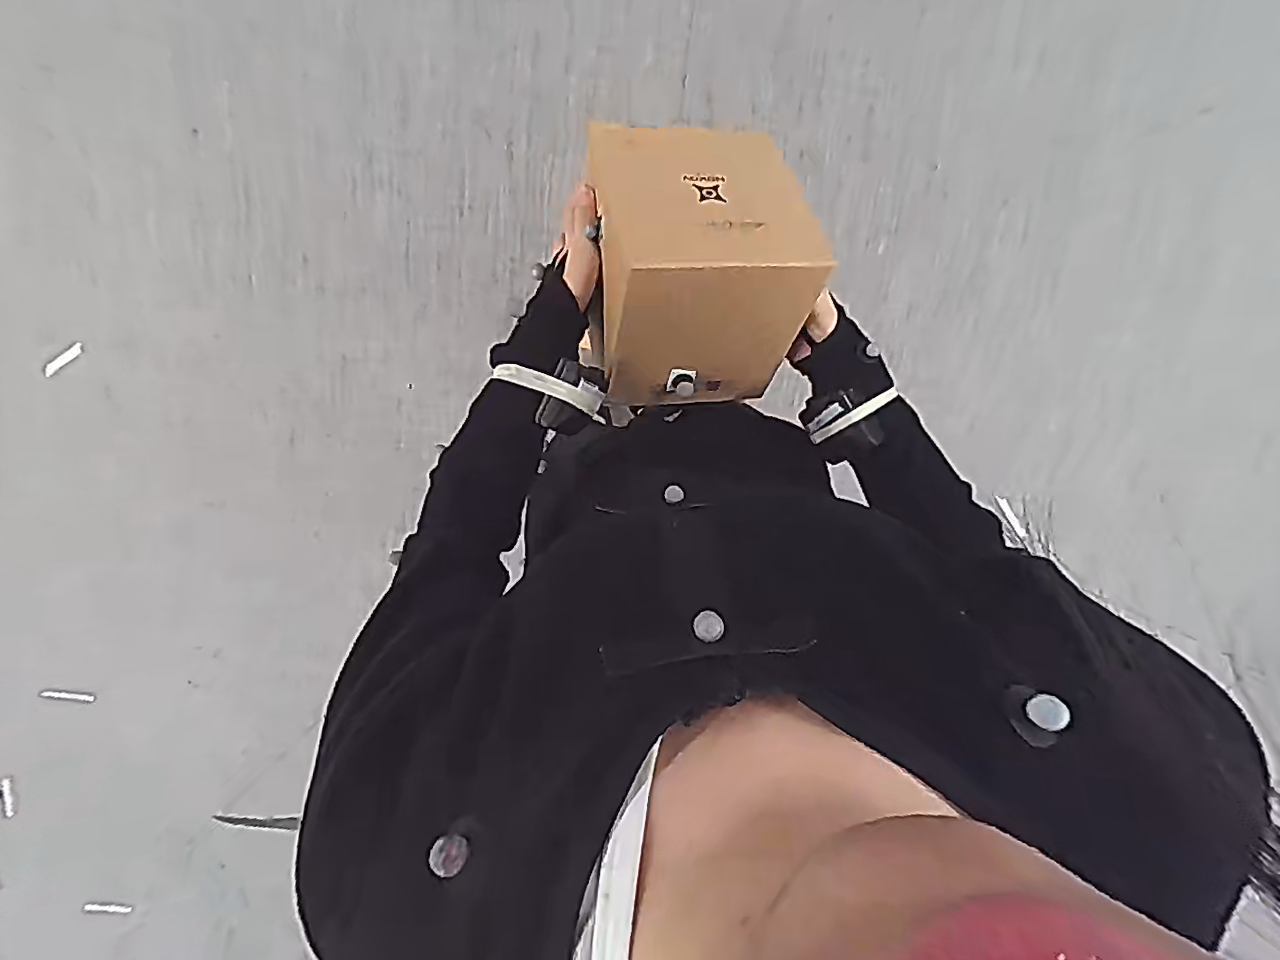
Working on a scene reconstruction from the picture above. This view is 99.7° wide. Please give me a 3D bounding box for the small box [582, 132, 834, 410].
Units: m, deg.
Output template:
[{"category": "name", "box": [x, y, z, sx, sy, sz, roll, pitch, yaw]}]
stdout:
[{"category": "small box", "box": [0.042, -0.187, 0.505, 0.168, 0.176, 0.179, -6, 62, -14]}]
